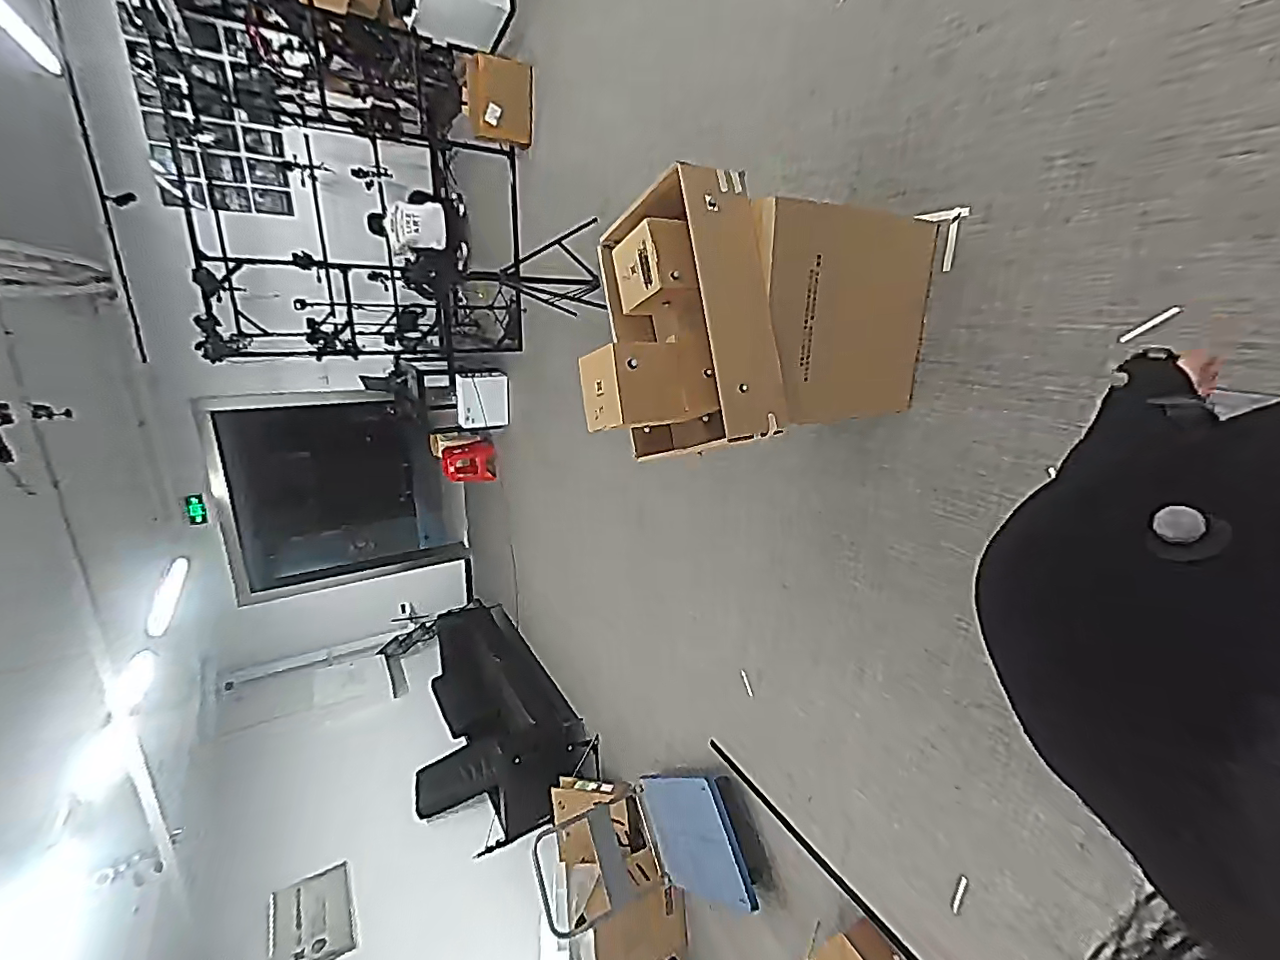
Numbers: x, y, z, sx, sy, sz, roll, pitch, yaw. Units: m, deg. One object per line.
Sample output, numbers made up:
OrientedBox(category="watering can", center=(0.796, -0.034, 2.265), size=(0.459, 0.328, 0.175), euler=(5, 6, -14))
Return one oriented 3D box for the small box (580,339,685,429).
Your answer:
OrientedBox(category="small box", center=(-0.016, -0.216, 1.230), size=(0.168, 0.176, 0.179), euler=(-1, 98, 59))
